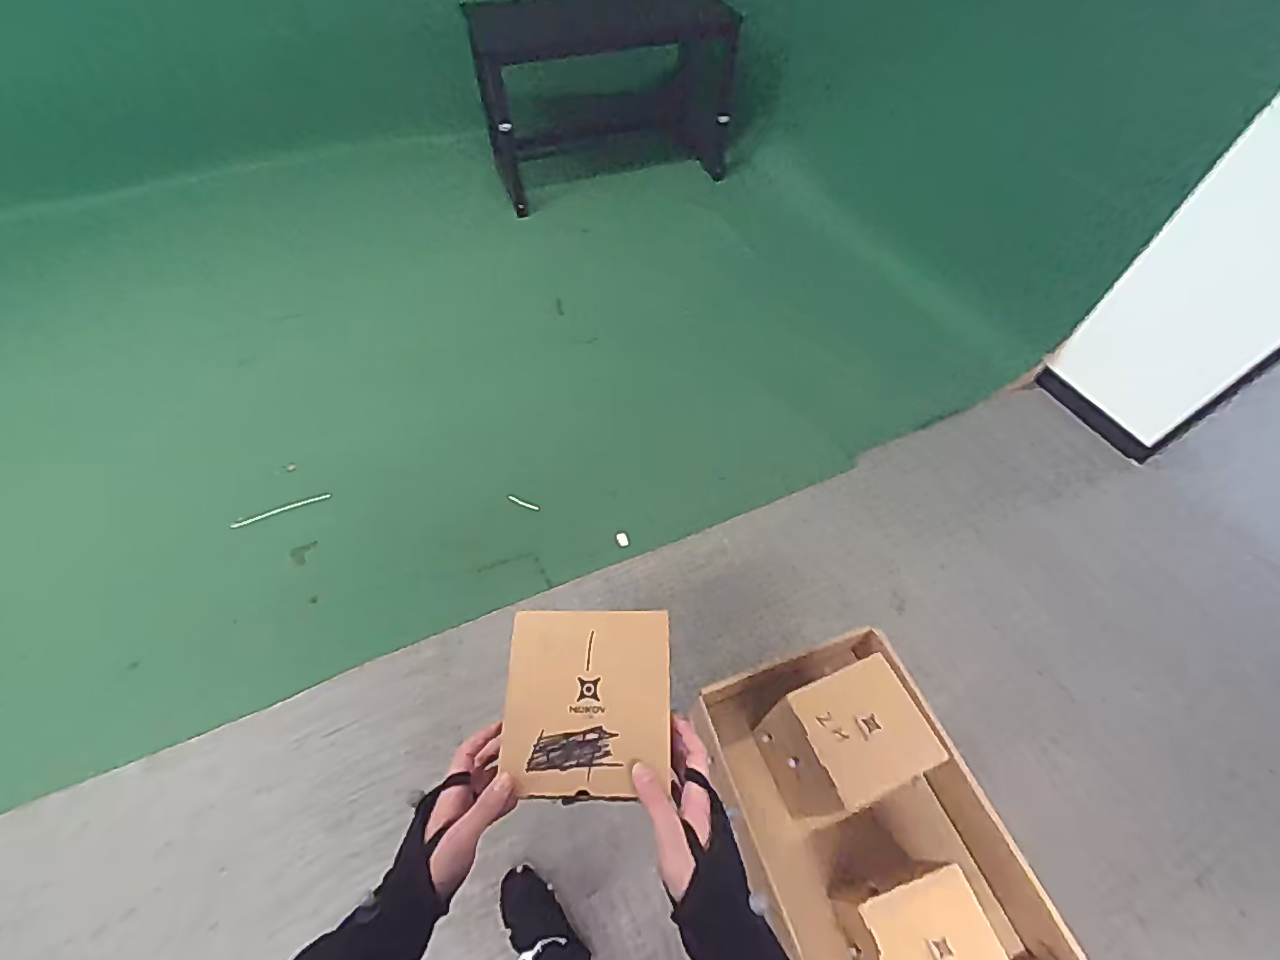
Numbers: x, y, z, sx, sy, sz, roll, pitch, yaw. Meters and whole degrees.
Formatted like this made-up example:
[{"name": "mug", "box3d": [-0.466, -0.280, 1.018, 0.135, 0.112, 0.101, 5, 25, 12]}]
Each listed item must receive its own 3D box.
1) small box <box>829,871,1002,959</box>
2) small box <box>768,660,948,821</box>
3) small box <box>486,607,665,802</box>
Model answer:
[{"name": "small box", "box3d": [0.426, 0.729, 0.835, 0.179, 0.176, 0.168, -15, 57, -10]}, {"name": "small box", "box3d": [0.327, 0.412, 0.851, 0.179, 0.176, 0.168, -18, 57, -12]}, {"name": "small box", "box3d": [-0.056, 0.249, 0.601, 0.168, 0.176, 0.179, 0, 62, 2]}]
